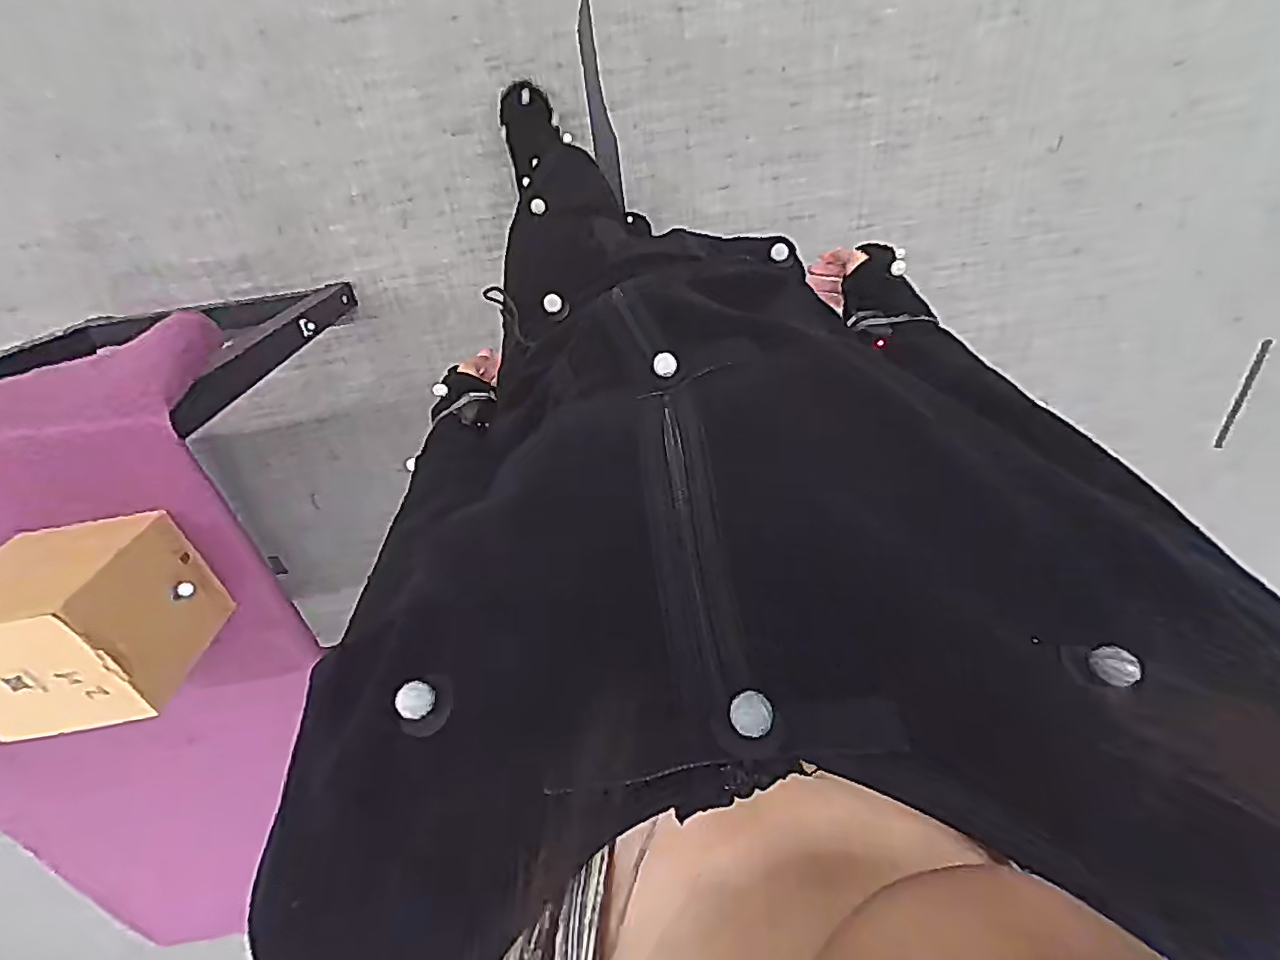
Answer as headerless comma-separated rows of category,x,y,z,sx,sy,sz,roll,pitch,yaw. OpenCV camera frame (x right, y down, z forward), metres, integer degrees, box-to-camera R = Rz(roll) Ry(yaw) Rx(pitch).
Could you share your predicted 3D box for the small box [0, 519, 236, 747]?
small box,-0.622,0.165,0.613,0.179,0.176,0.168,-10,124,-2
